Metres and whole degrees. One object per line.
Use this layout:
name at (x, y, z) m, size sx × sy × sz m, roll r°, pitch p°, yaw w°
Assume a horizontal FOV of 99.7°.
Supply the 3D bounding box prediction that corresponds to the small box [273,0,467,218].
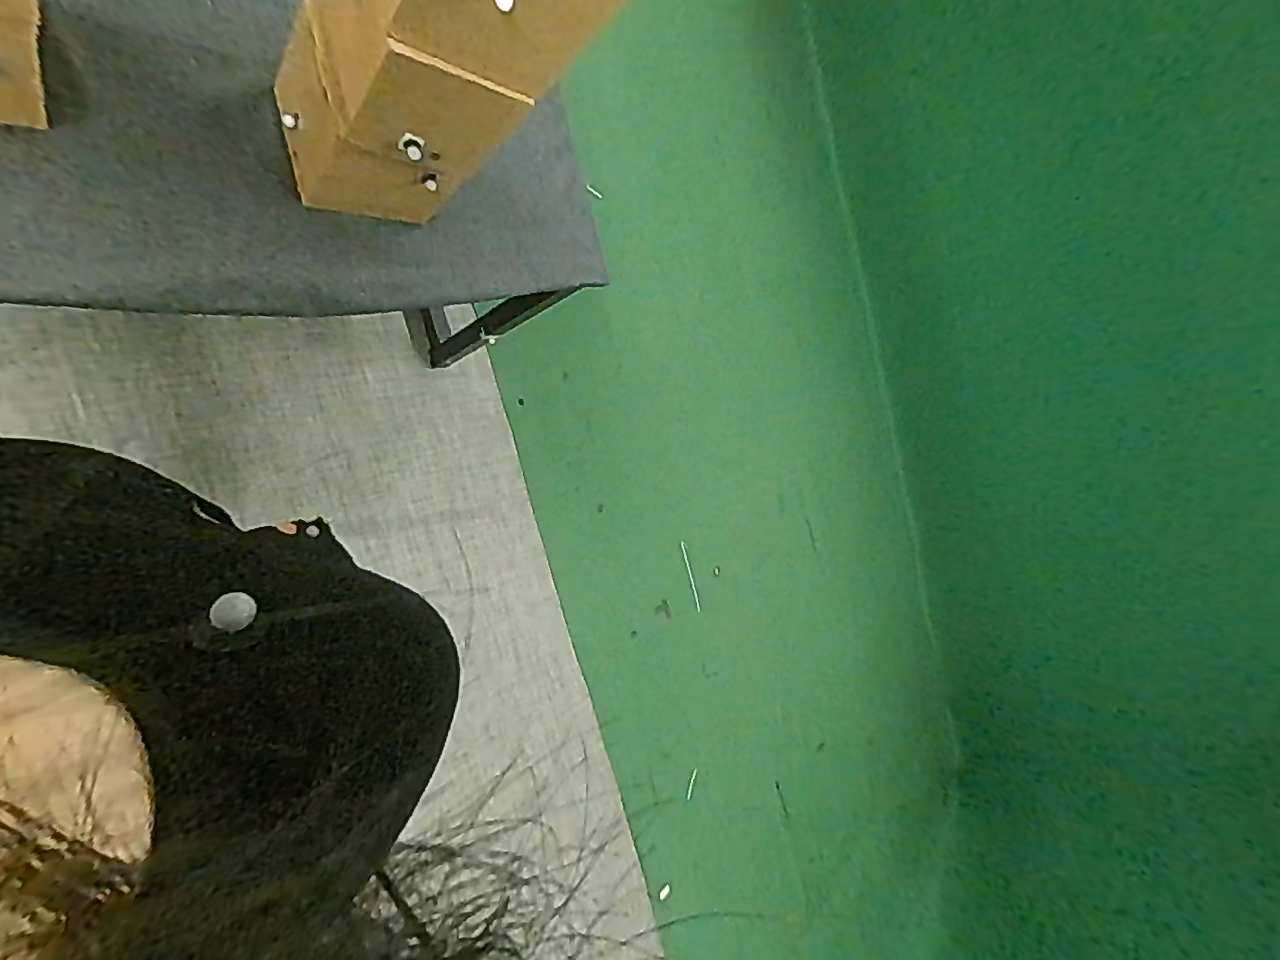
small box at (-0.364, -0.479, 0.732) m, size 0.179 × 0.176 × 0.168 m, roll -14°, pitch 93°, yaw -44°

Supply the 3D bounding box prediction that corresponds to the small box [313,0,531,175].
small box at (-0.251, -0.490, 0.615) m, size 0.168 × 0.176 × 0.179 m, roll -12°, pitch 93°, yaw -43°

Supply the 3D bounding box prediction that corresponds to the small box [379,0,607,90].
small box at (-0.138, -0.512, 0.499) m, size 0.179 × 0.176 × 0.168 m, roll -10°, pitch 90°, yaw -43°
